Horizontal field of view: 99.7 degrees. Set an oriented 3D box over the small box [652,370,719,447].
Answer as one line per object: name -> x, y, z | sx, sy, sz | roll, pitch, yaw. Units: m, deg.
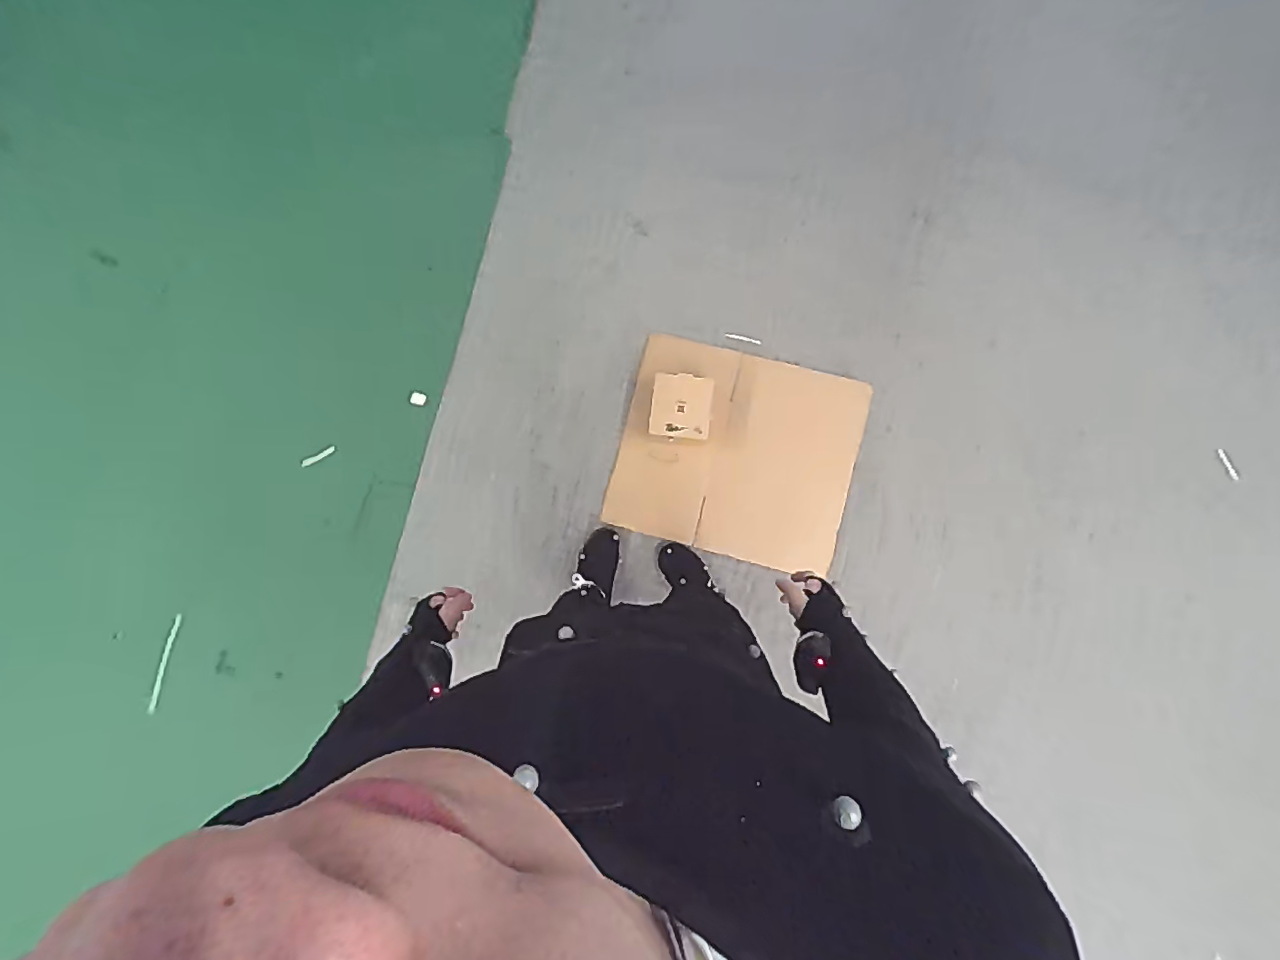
small box -> 0.129, -0.200, 1.554 | 0.168, 0.176, 0.179 | 8, 87, 4
